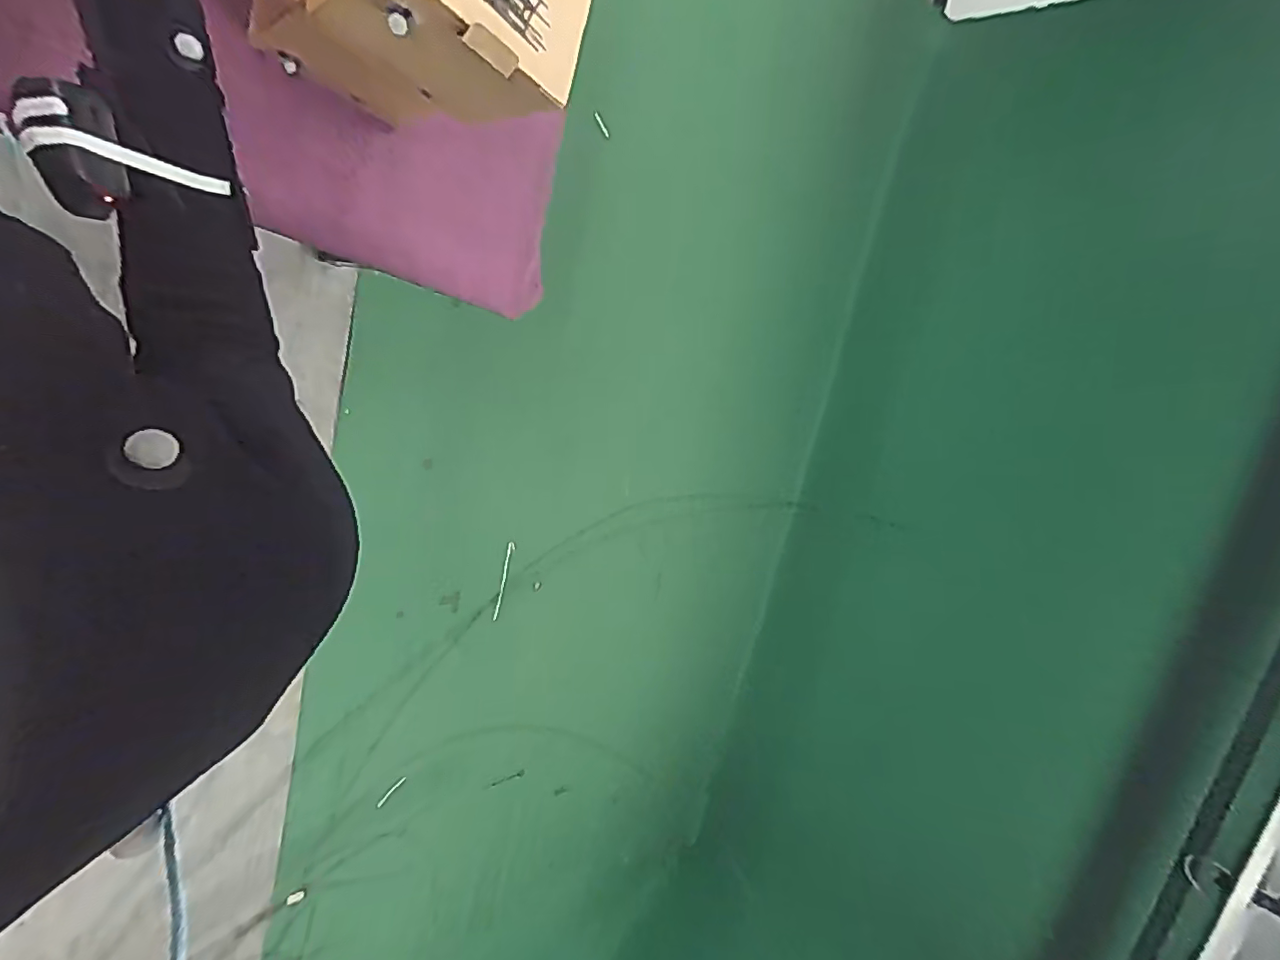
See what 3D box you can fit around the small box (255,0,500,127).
[{"bbox_3d":[-0.273,-0.506,0.567,0.168,0.176,0.179,9,100,-54],"label":"small box"}]
